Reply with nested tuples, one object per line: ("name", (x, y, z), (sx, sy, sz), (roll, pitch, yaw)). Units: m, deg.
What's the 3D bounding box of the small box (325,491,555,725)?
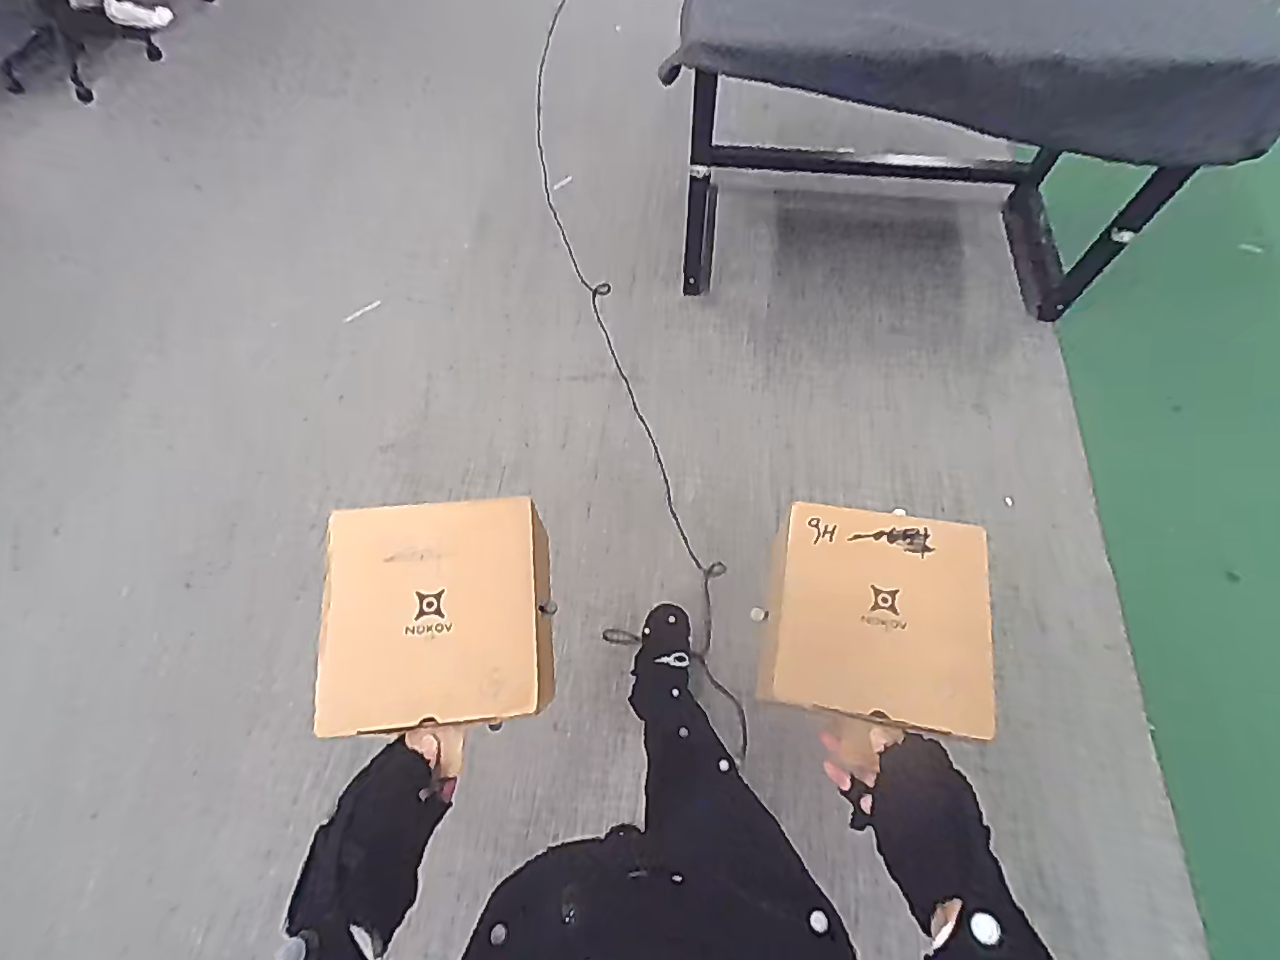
("small box", (-0.172, 0.121, 0.515), (0.168, 0.176, 0.179), (-4, 72, -7))
